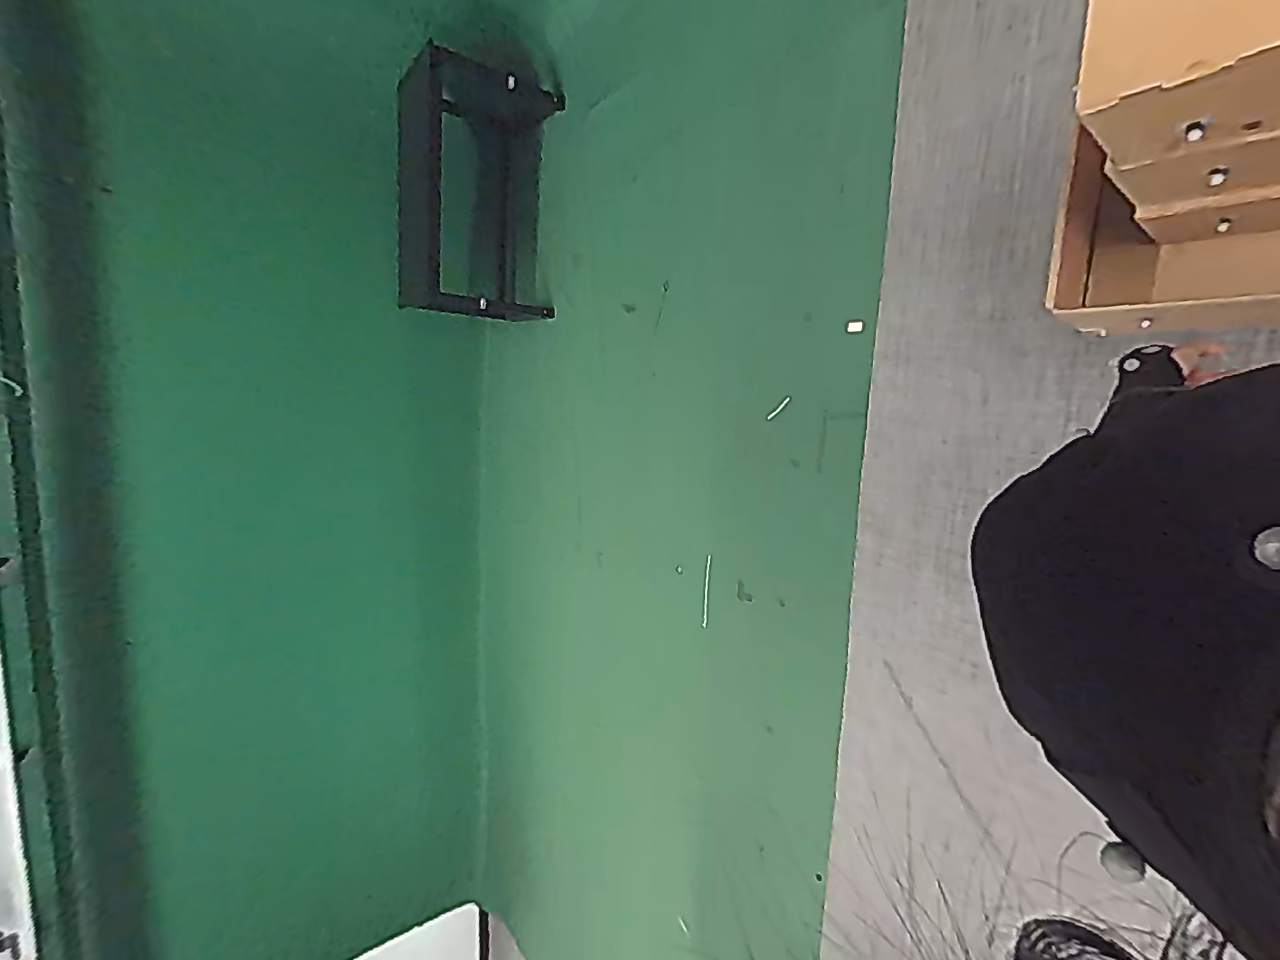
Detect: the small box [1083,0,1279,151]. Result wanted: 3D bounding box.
[{"bbox_3d":[0.533,-0.437,0.484,0.168,0.176,0.179,10,102,52],"label":"small box"}]
